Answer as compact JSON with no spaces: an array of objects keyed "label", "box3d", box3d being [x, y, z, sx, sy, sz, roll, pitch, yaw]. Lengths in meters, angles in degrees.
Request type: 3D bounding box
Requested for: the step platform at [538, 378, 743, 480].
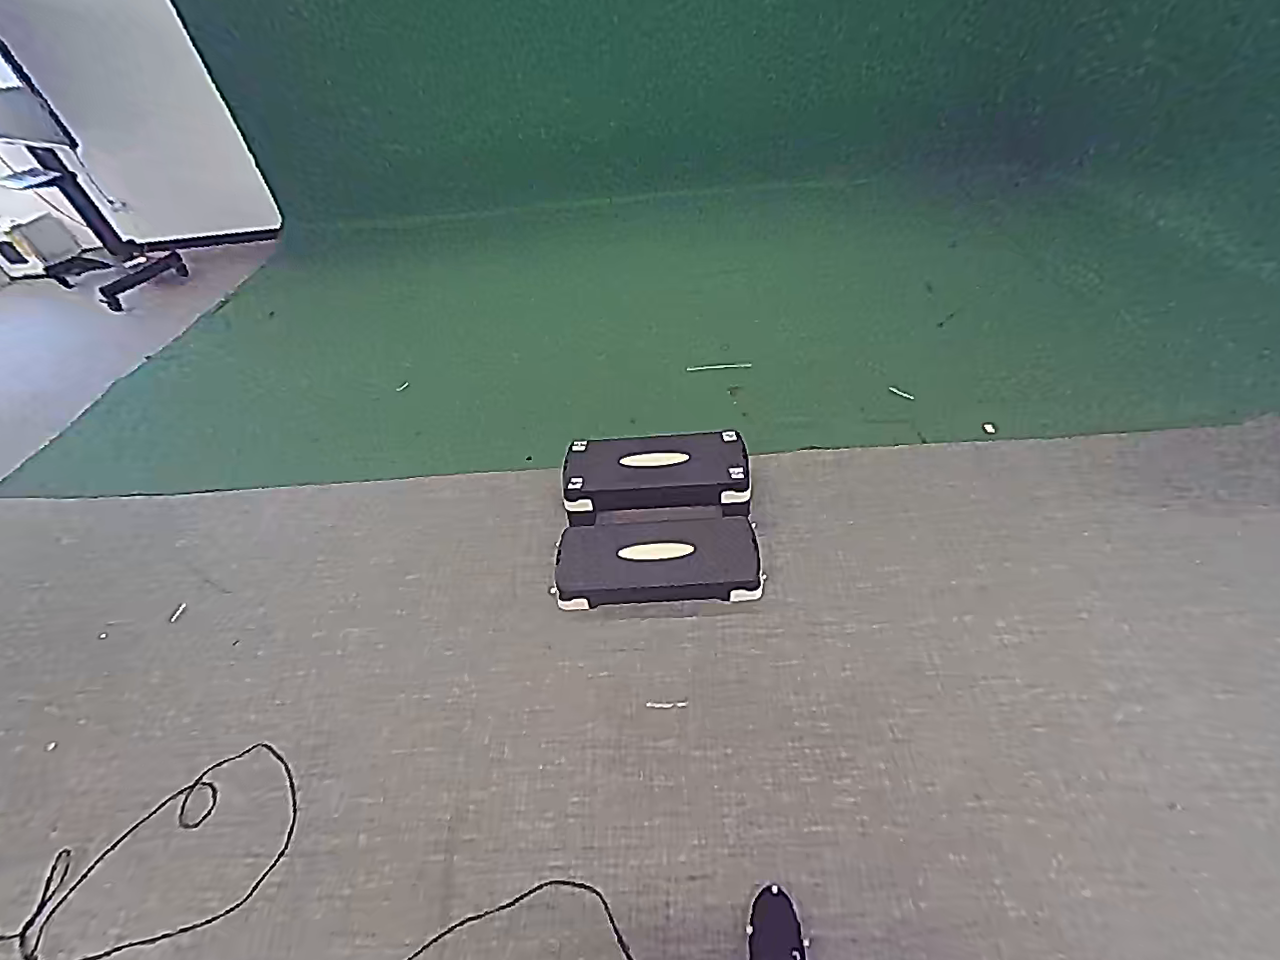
[{"label":"step platform","box3d":[0.006,-0.174,1.875,0.684,0.204,0.286,-4,45,4]}]
